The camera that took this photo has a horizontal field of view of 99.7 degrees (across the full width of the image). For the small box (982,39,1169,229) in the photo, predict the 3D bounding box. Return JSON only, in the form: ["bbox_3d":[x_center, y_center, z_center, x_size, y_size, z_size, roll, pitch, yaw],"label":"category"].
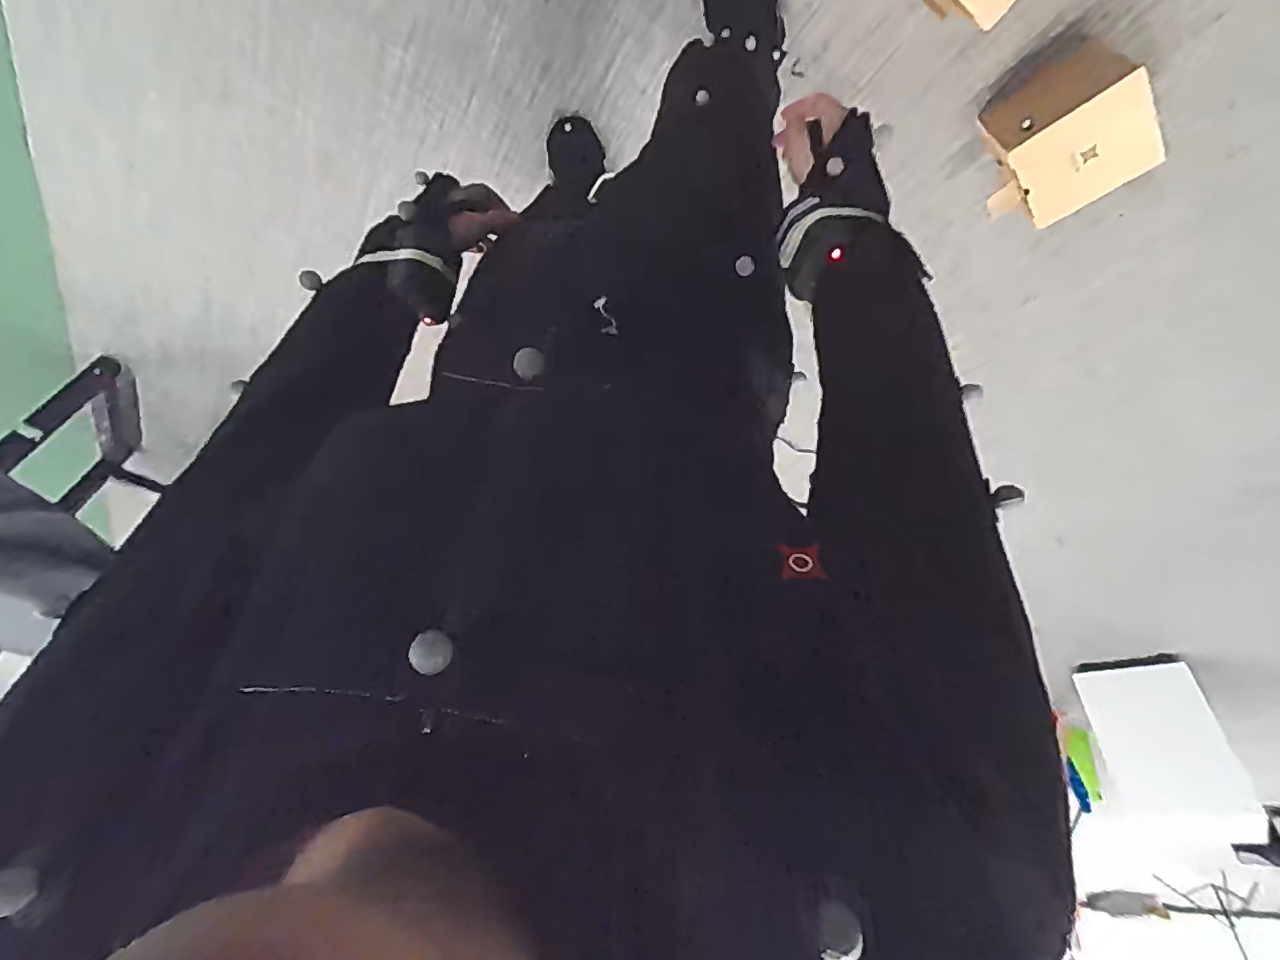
[{"bbox_3d":[0.700,-0.563,0.883,0.179,0.176,0.168,-27,130,36],"label":"small box"}]
